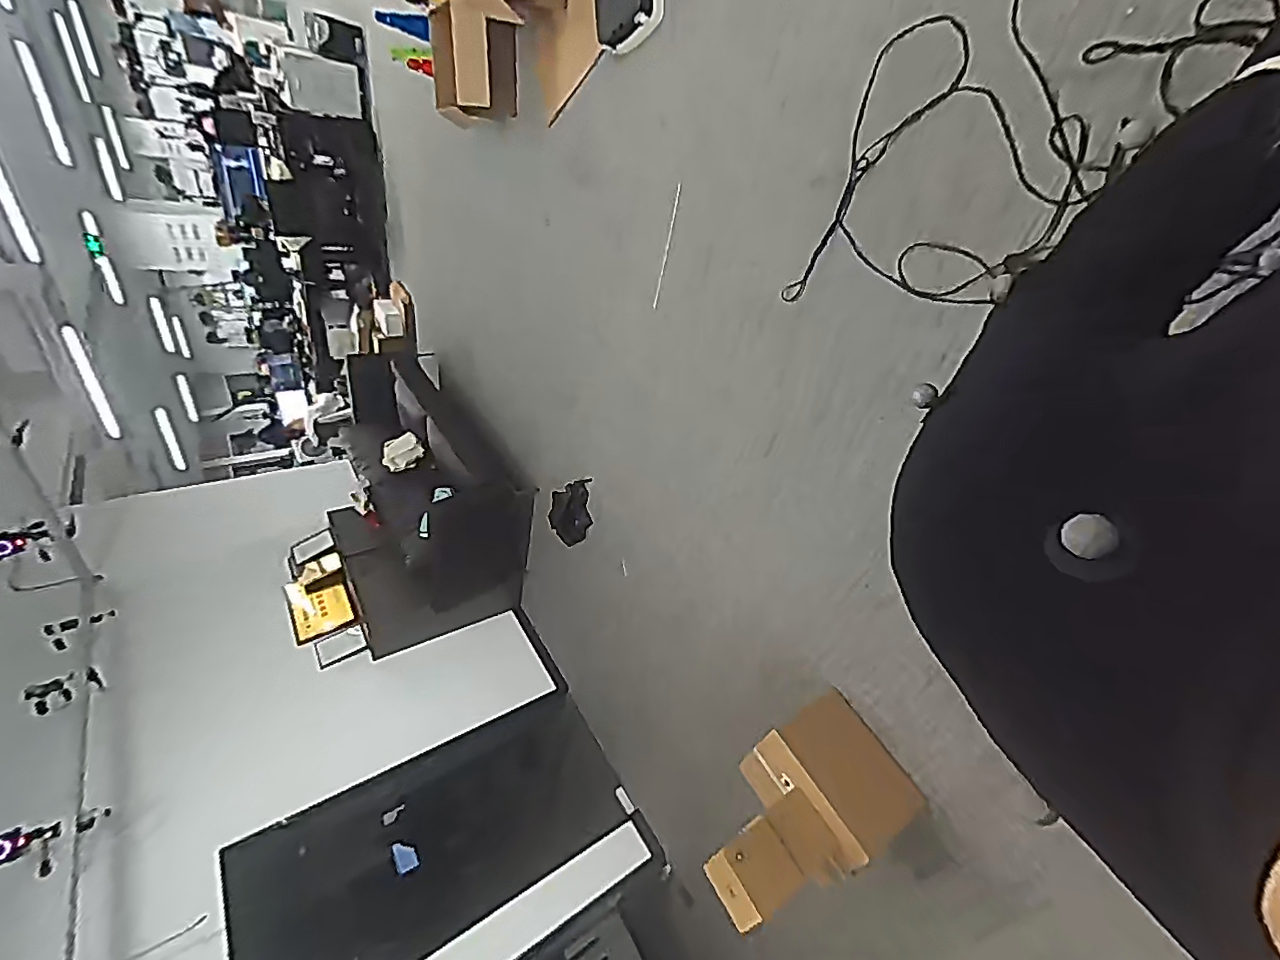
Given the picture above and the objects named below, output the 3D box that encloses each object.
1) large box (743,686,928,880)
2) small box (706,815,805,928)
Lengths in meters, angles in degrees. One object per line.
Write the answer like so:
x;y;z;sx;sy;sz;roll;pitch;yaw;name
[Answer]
0.616;0.964;1.749;0.408;0.320;0.320;52;140;33;large box
0.318;1.072;1.488;0.179;0.176;0.168;51;140;34;small box
